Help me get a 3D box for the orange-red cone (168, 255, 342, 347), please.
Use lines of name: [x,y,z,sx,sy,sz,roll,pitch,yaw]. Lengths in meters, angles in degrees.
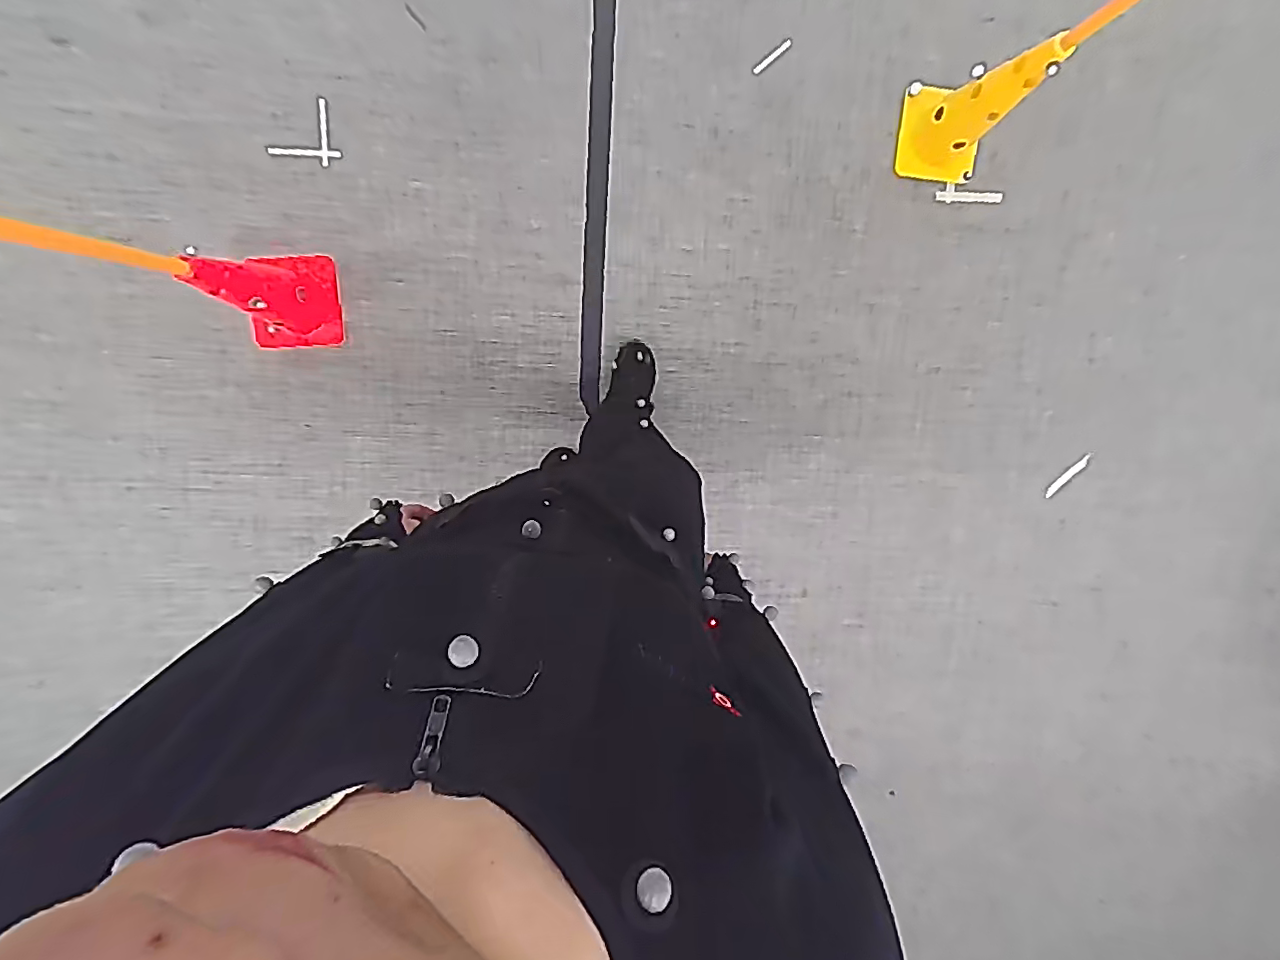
orange-red cone: [-0.766,-0.373,1.051,0.199,0.360,0.198,-3,100,-6]
